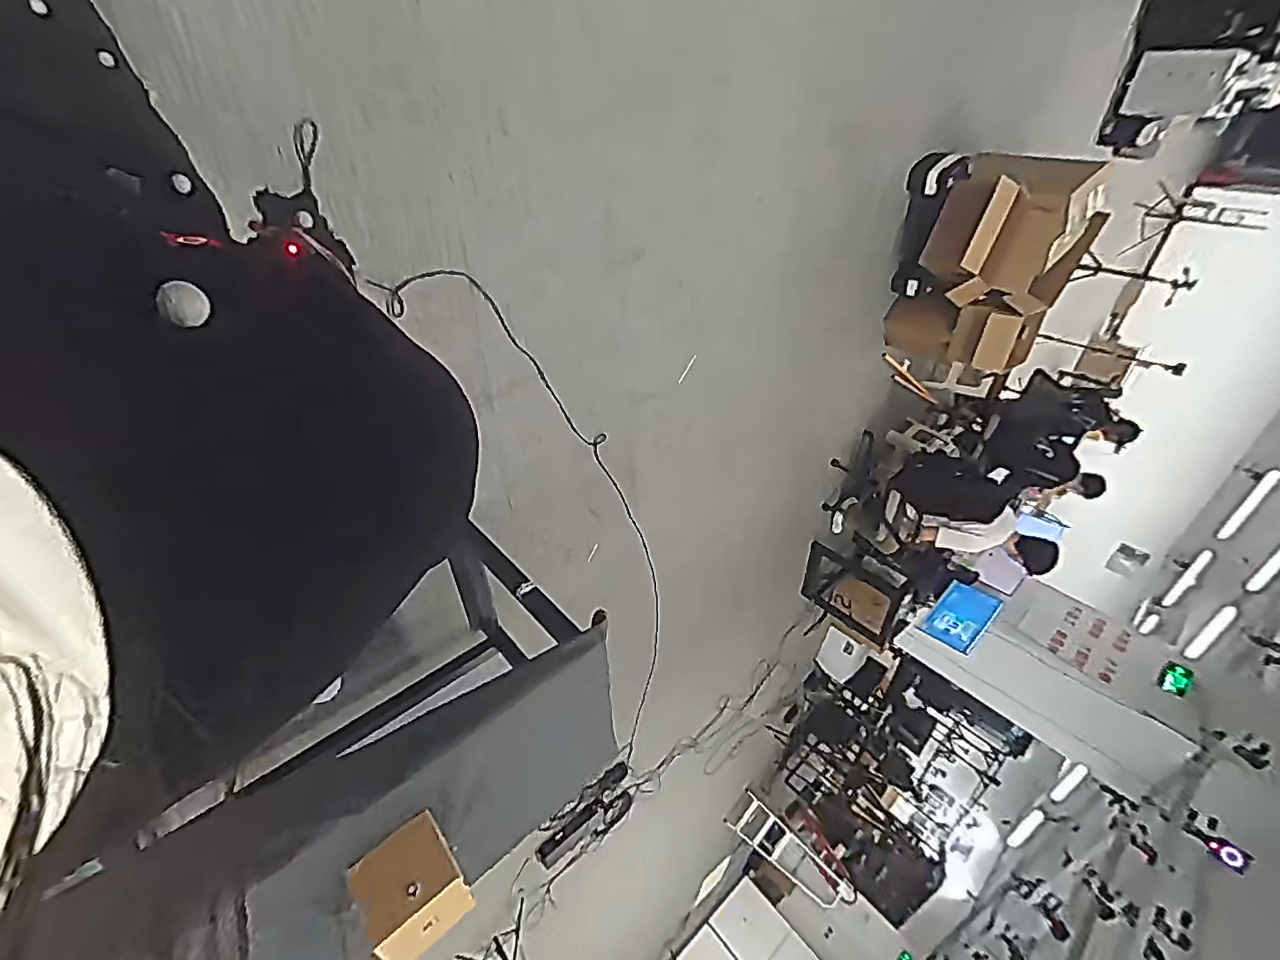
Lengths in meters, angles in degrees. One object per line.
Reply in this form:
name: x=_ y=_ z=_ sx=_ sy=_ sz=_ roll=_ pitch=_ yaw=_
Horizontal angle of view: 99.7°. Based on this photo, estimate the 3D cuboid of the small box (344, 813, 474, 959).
small box: x=-0.475 y=0.839 z=1.116 sx=0.179 sy=0.176 sz=0.168 roll=-28 pitch=134 yaw=-30
